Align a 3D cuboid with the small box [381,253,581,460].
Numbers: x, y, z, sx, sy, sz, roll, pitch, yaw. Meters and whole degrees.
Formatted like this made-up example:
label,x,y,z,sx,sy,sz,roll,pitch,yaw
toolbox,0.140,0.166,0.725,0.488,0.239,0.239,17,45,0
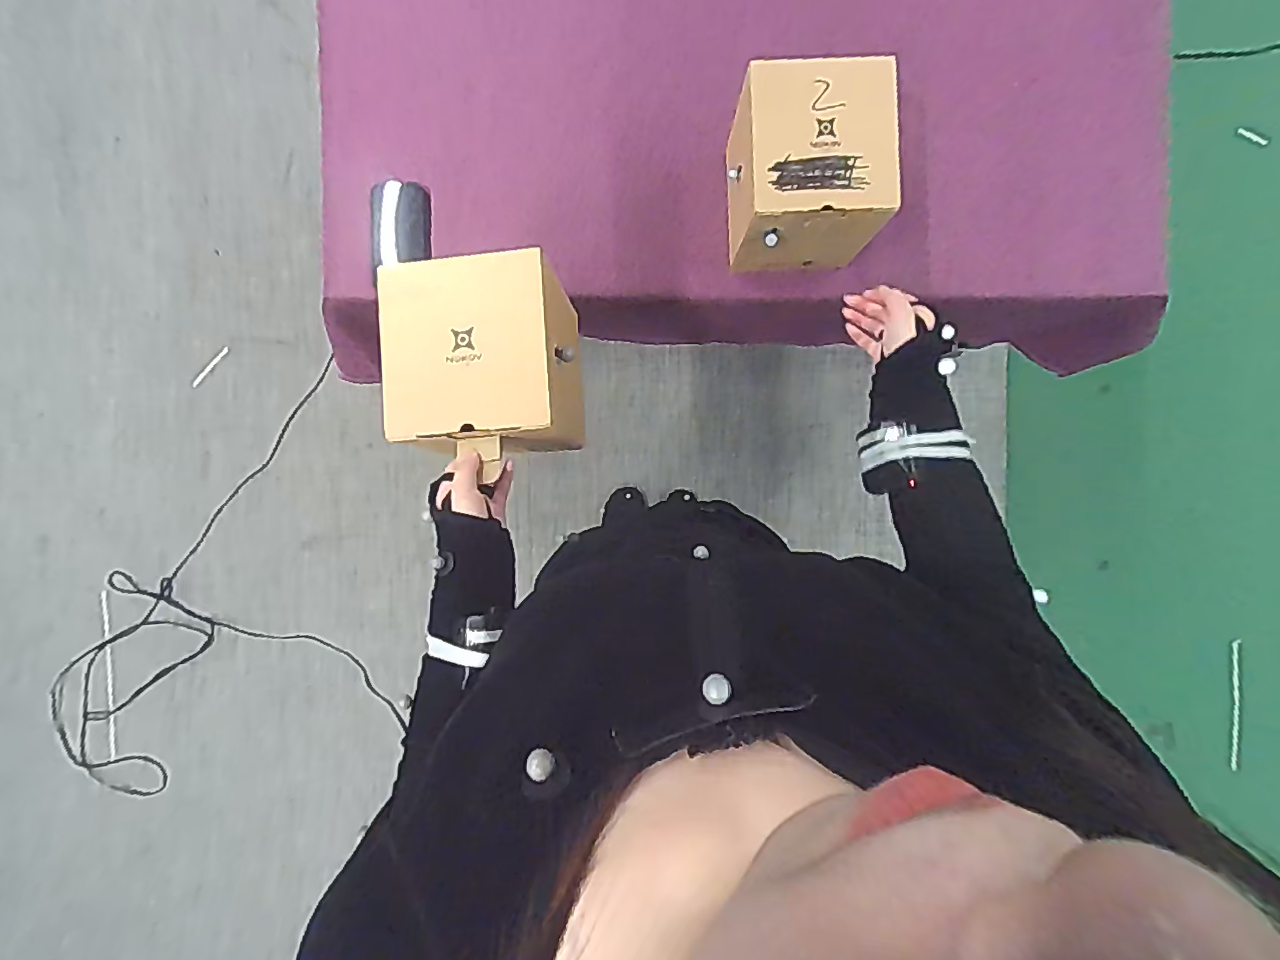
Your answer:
label,x,y,z,sx,sy,sz,roll,pitch,yaw
small box,-0.162,-0.121,0.595,0.168,0.176,0.179,-4,87,4
